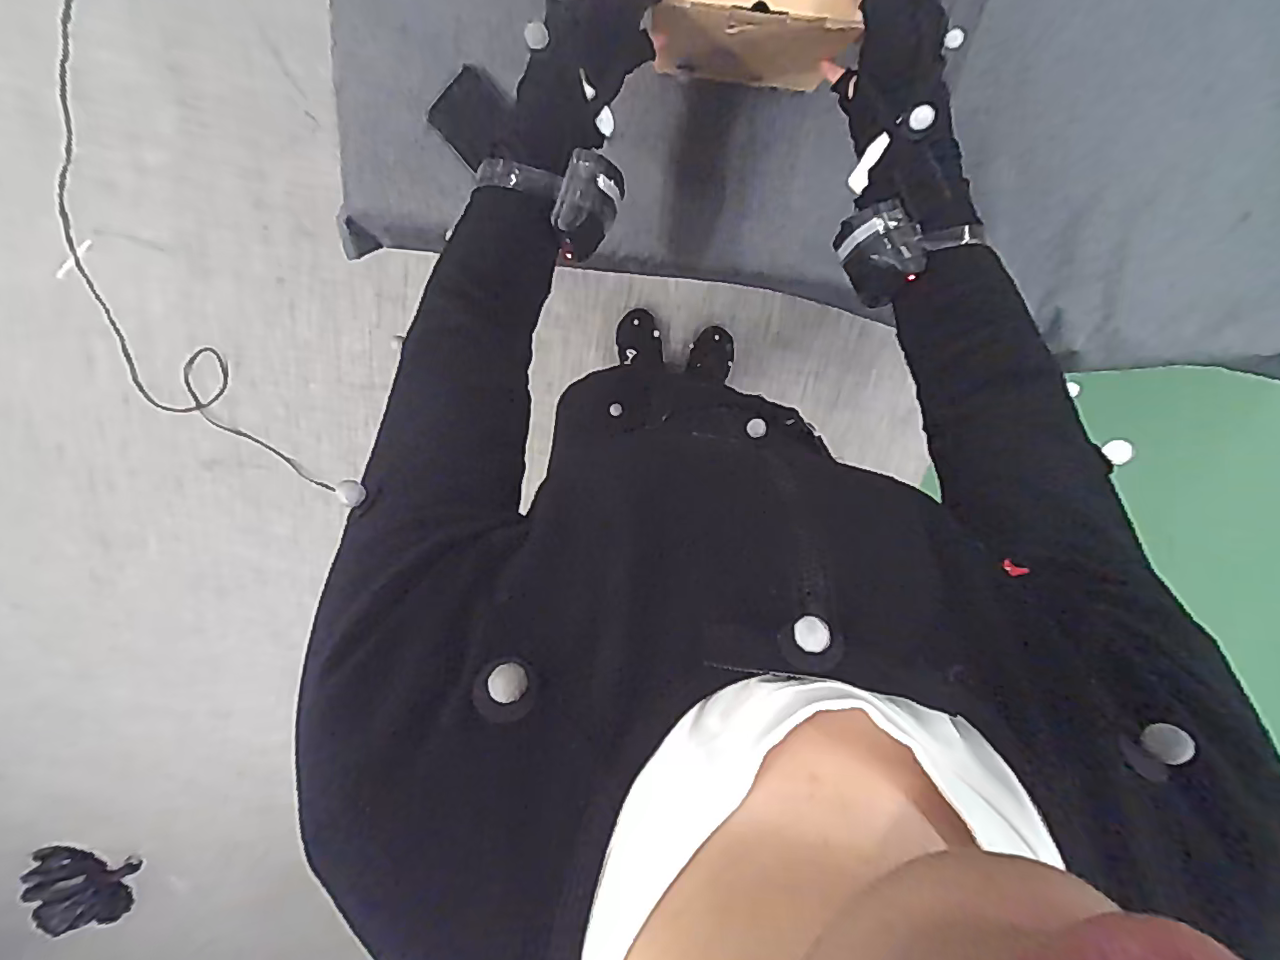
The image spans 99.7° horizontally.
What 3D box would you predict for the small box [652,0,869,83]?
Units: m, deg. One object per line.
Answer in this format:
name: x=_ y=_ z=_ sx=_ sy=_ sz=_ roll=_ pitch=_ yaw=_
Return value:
small box: x=0.103 y=-0.462 z=0.450 sx=0.168 sy=0.176 sz=0.179 roll=7 pitch=112 yaw=-1
